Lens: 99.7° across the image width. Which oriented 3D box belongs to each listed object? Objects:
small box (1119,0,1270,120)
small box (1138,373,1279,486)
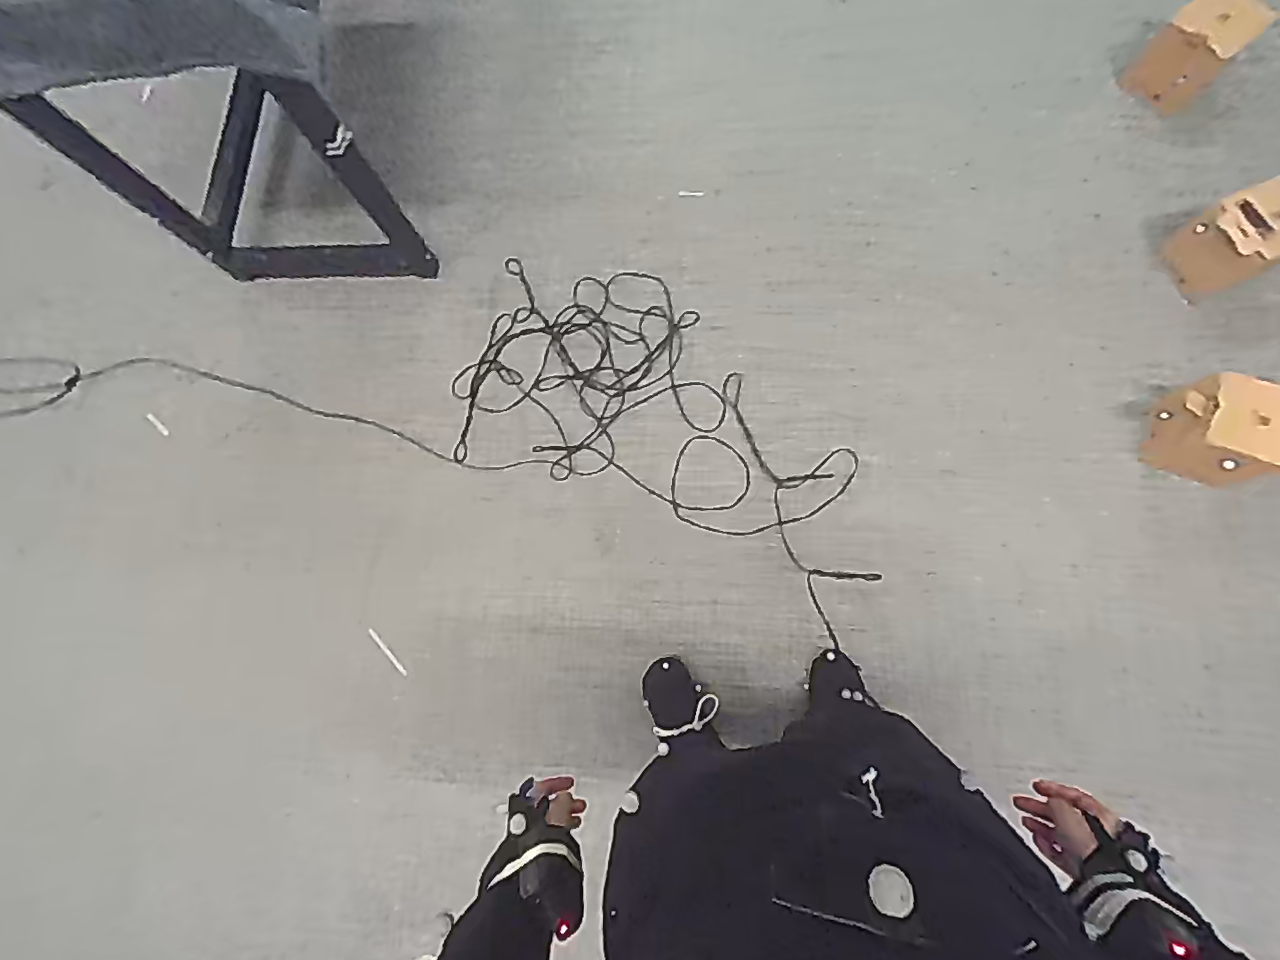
[{"bbox_3d":[1.366,-1.055,1.351,0.179,0.176,0.168,-41,79,-6],"label":"small box"},{"bbox_3d":[1.231,-0.097,1.146,0.179,0.176,0.168,21,80,9],"label":"small box"}]
